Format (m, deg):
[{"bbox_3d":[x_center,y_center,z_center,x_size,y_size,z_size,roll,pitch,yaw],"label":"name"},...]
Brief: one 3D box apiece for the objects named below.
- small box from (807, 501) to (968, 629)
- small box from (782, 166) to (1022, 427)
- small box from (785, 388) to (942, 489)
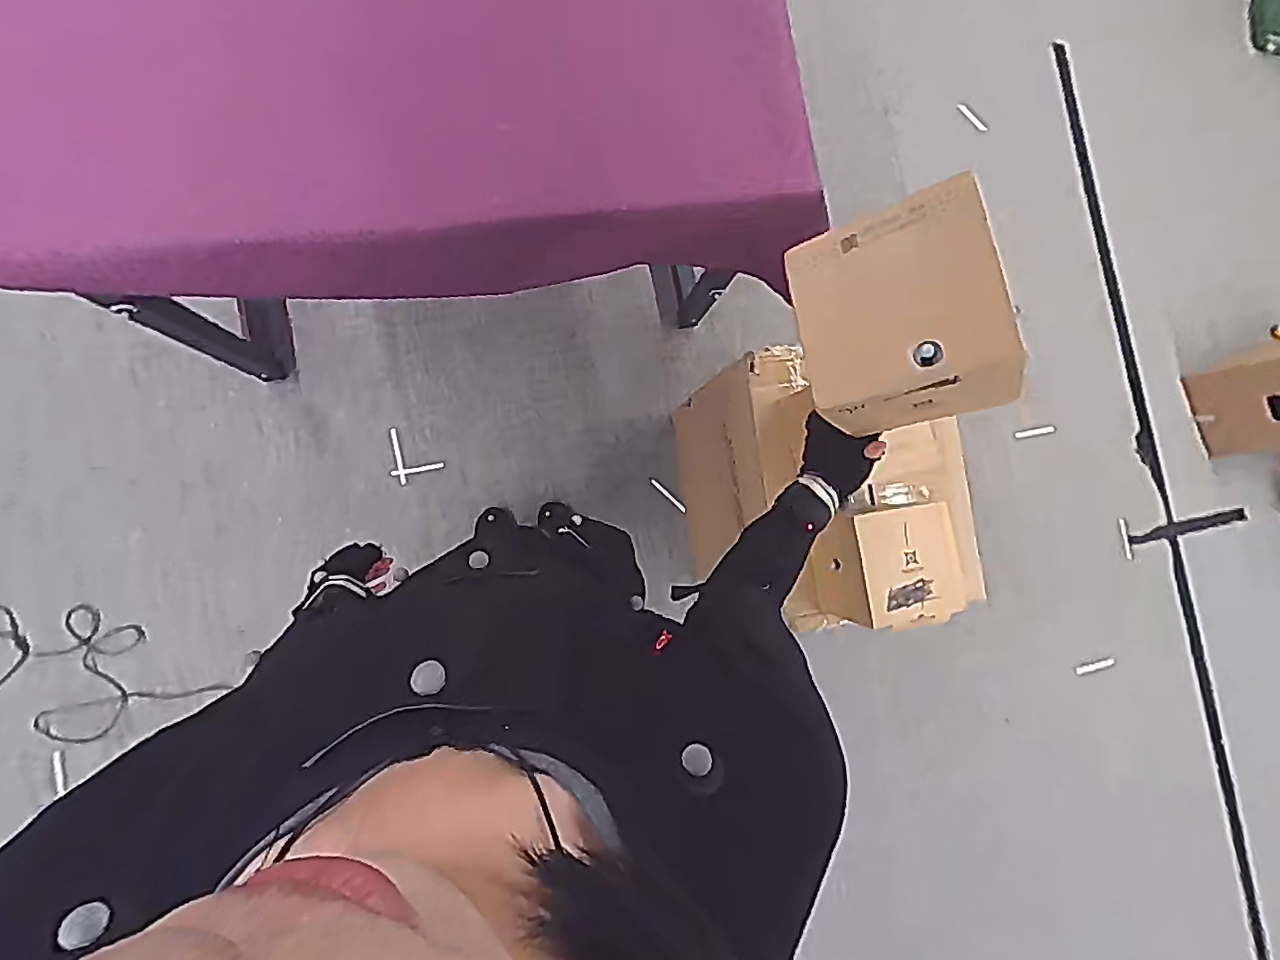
[{"bbox_3d":[0.403,0.134,0.905,0.168,0.176,0.179,-9,86,-10],"label":"small box"},{"bbox_3d":[0.258,-0.165,0.538,0.168,0.179,0.176,-16,78,32],"label":"small box"},{"bbox_3d":[0.365,-0.086,0.915,0.168,0.176,0.179,-14,90,-9],"label":"small box"}]
